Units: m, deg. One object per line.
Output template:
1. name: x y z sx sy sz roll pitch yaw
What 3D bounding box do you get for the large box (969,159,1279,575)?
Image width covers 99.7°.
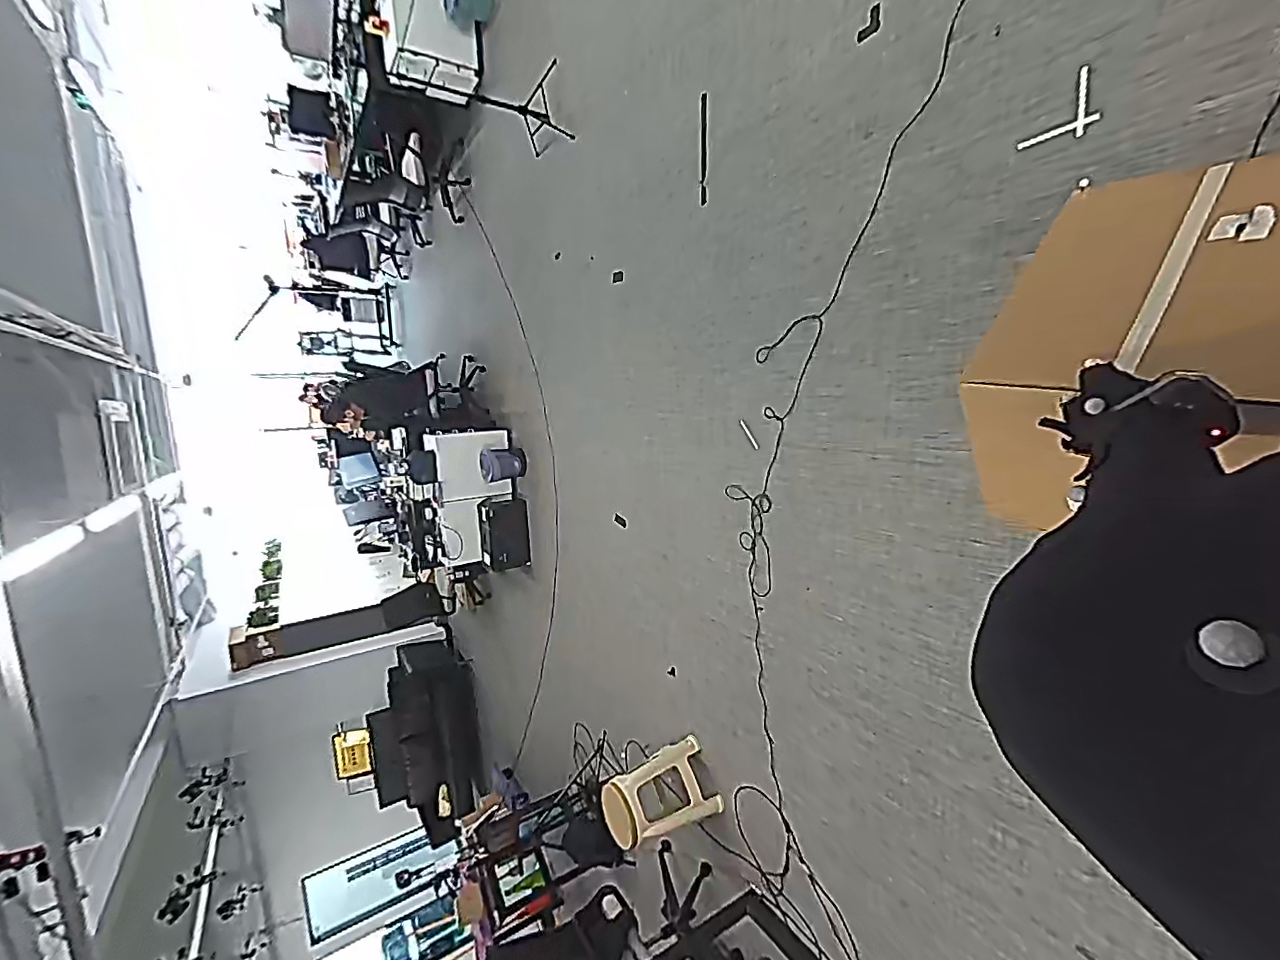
1. large box: 0.706 -0.151 0.724 0.320 0.408 0.320 20 156 48
